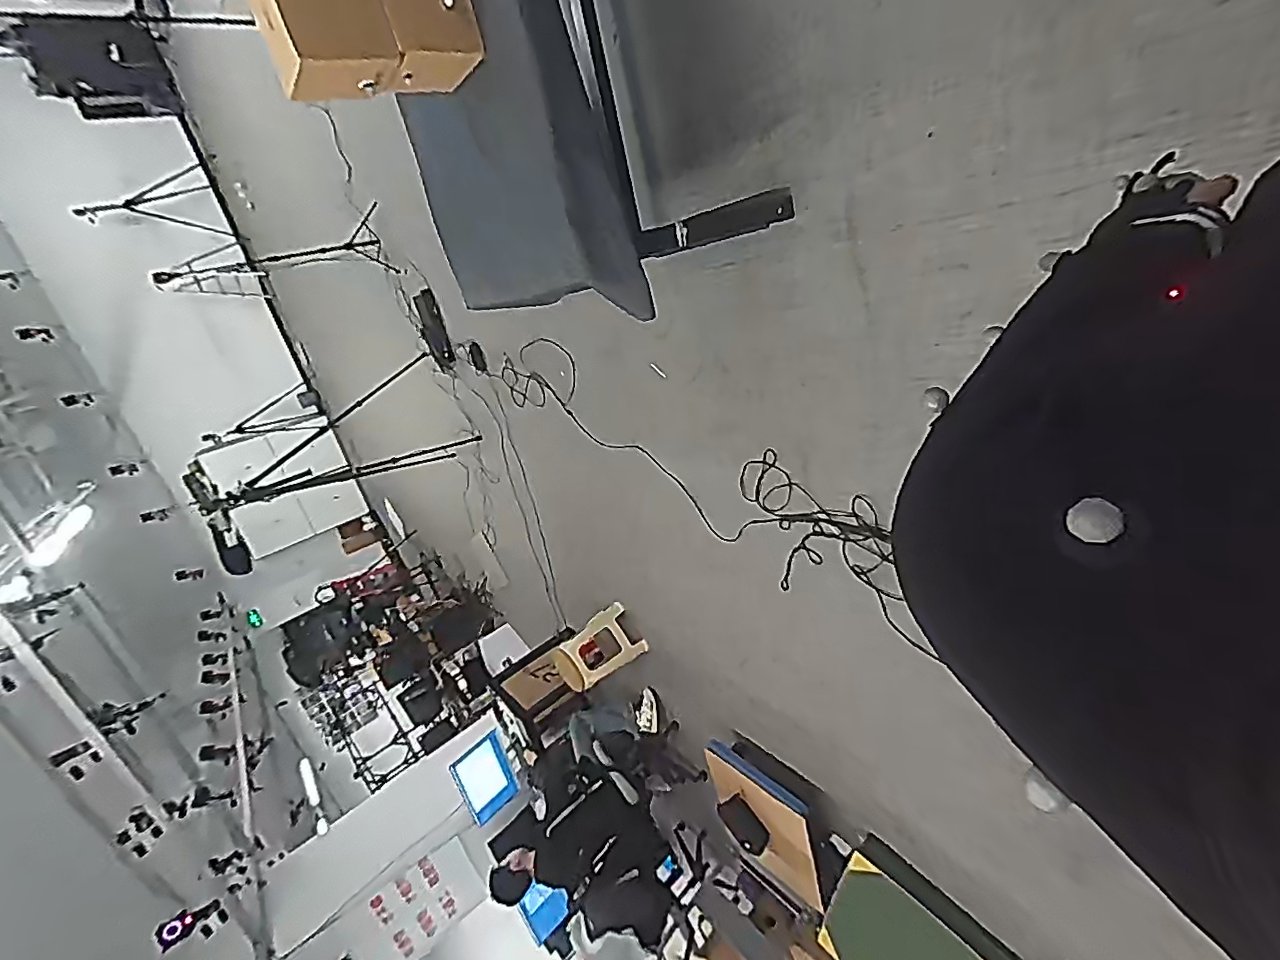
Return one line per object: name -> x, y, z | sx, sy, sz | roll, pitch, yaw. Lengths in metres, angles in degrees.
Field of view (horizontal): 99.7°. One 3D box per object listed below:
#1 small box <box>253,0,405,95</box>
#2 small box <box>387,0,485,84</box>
small box -> -0.533, -0.791, 0.923 | 0.168, 0.176, 0.179 | 12, 125, 52
small box -> -0.415, -0.863, 1.007 | 0.179, 0.176, 0.168 | 13, 124, 50
